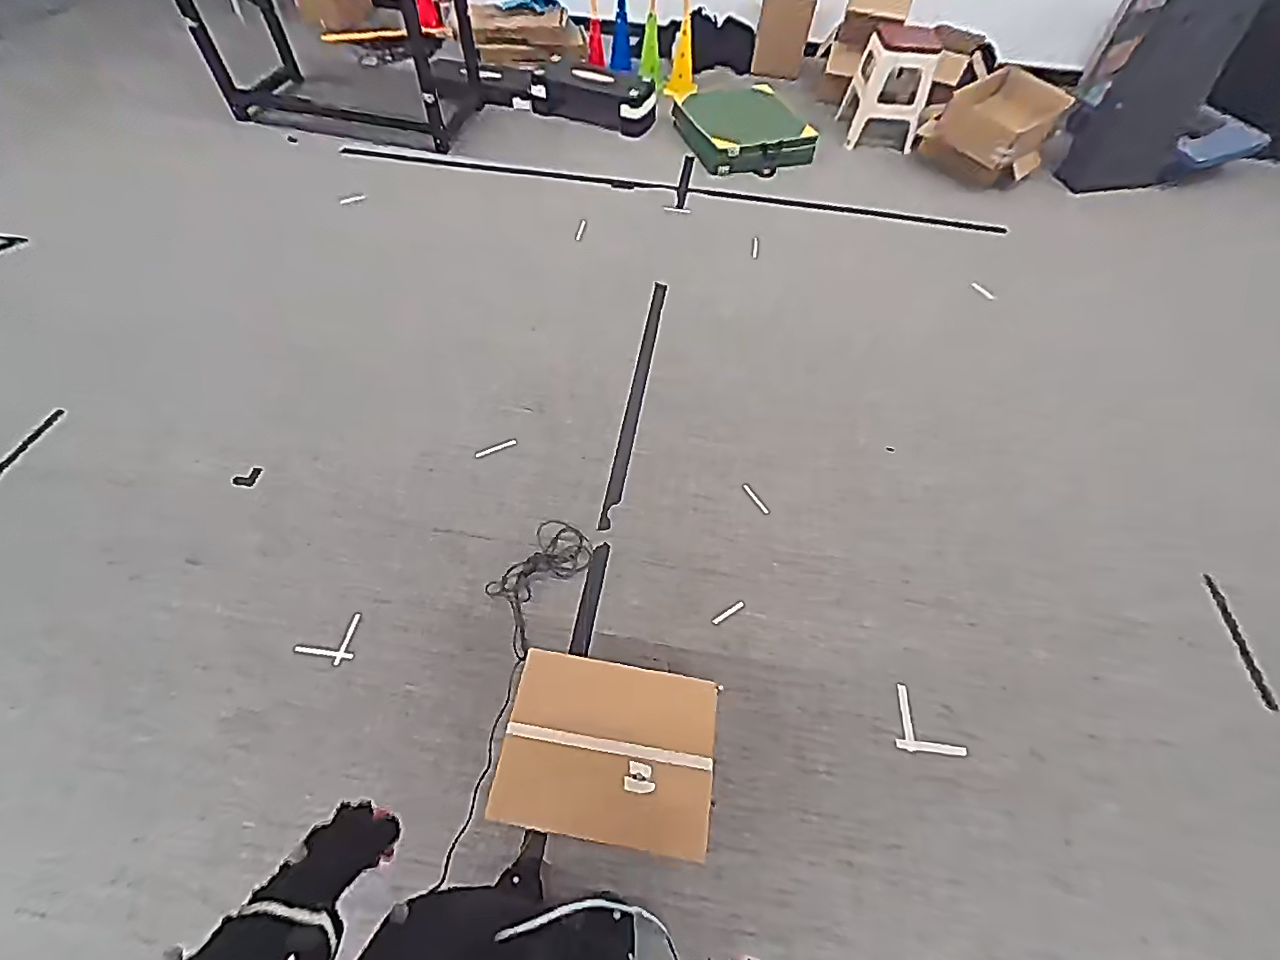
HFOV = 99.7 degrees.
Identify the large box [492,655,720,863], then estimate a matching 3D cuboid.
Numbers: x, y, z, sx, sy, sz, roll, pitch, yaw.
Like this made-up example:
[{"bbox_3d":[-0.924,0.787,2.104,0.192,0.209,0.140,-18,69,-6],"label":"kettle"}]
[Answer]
[{"bbox_3d":[-0.065,0.607,1.172,0.408,0.320,0.320,11,57,1],"label":"large box"}]
